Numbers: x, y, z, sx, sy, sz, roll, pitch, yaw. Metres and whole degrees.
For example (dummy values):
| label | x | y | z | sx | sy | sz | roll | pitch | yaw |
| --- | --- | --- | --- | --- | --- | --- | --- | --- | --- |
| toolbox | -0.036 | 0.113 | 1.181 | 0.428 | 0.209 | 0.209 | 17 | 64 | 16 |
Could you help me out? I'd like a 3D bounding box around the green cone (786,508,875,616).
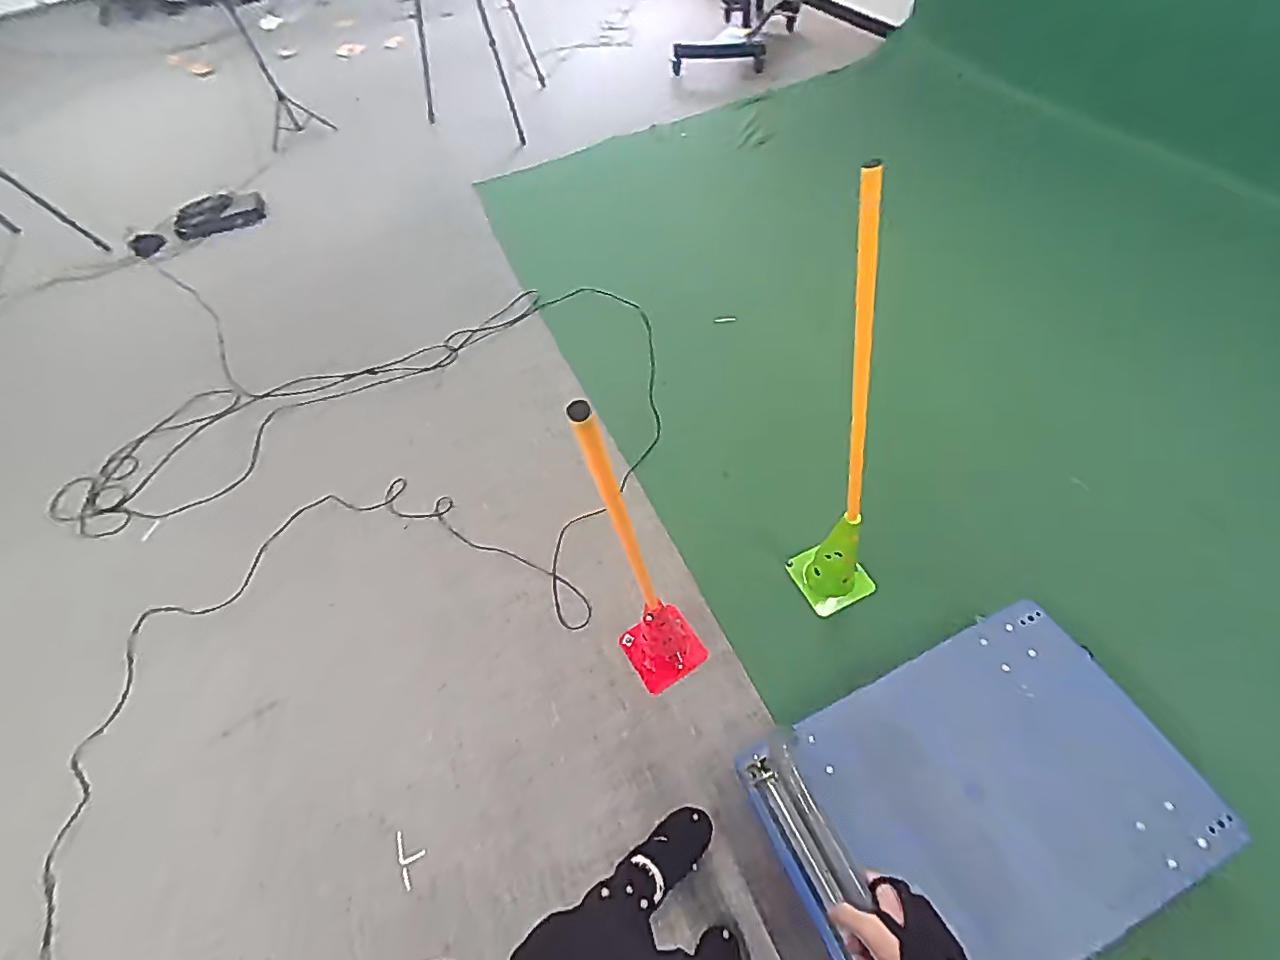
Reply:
| label | x | y | z | sx | sy | sz | roll | pitch | yaw |
| --- | --- | --- | --- | --- | --- | --- | --- | --- | --- |
| green cone | 0.551 | 0.191 | 1.475 | 0.202 | 0.368 | 0.200 | -23 | 56 | -10 |
